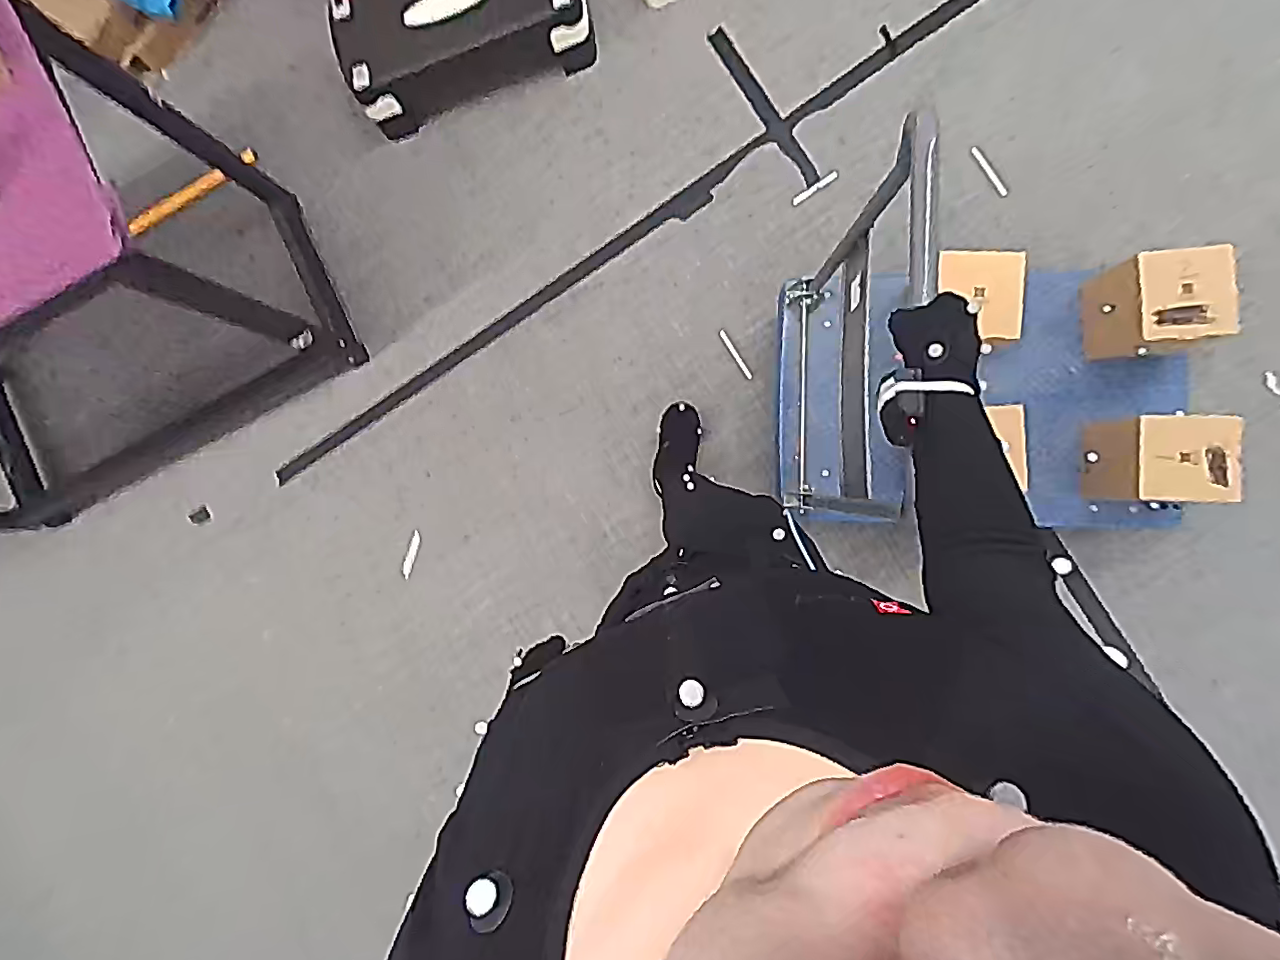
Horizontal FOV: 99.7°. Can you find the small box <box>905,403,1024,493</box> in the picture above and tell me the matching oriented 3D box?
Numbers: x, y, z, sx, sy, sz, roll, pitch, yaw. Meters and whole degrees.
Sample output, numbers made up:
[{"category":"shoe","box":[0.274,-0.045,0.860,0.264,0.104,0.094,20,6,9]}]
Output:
[{"category":"small box","box":[0.682,-0.062,1.155,0.168,0.176,0.179,-1,89,6]}]

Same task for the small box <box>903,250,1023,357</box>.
[{"category":"small box","box":[0.683,-0.373,1.162,0.168,0.176,0.179,4,91,6]}]

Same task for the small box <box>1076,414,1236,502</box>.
[{"category":"small box","box":[1.052,-0.043,1.114,0.179,0.176,0.168,2,89,7]}]
